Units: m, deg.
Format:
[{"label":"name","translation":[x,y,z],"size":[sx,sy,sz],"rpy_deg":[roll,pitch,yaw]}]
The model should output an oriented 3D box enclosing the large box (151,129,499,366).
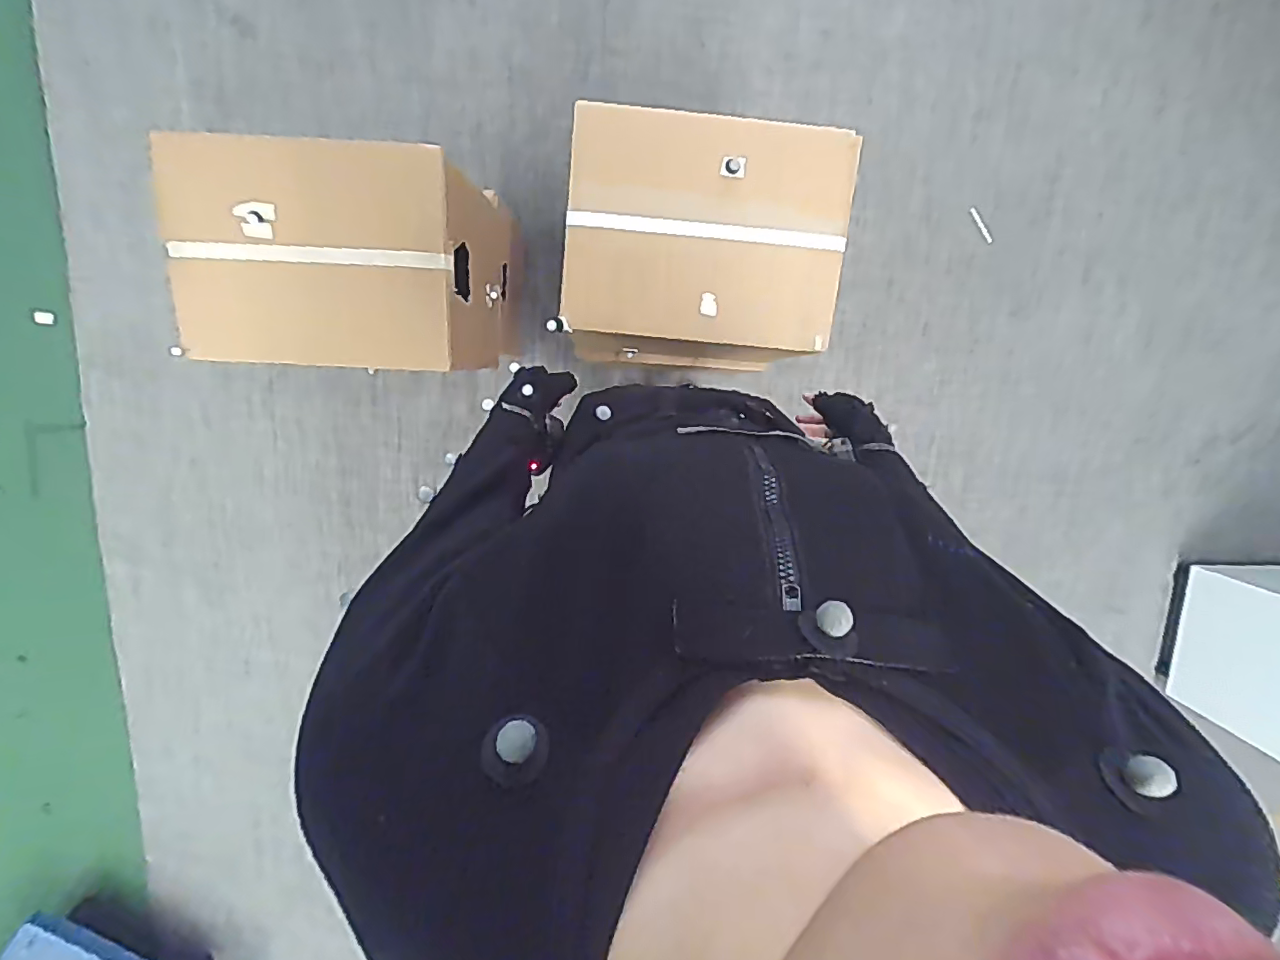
[{"label":"large box","translation":[-0.482,-0.367,0.926],"size":[0.408,0.320,0.320],"rpy_deg":[3,103,0]}]
